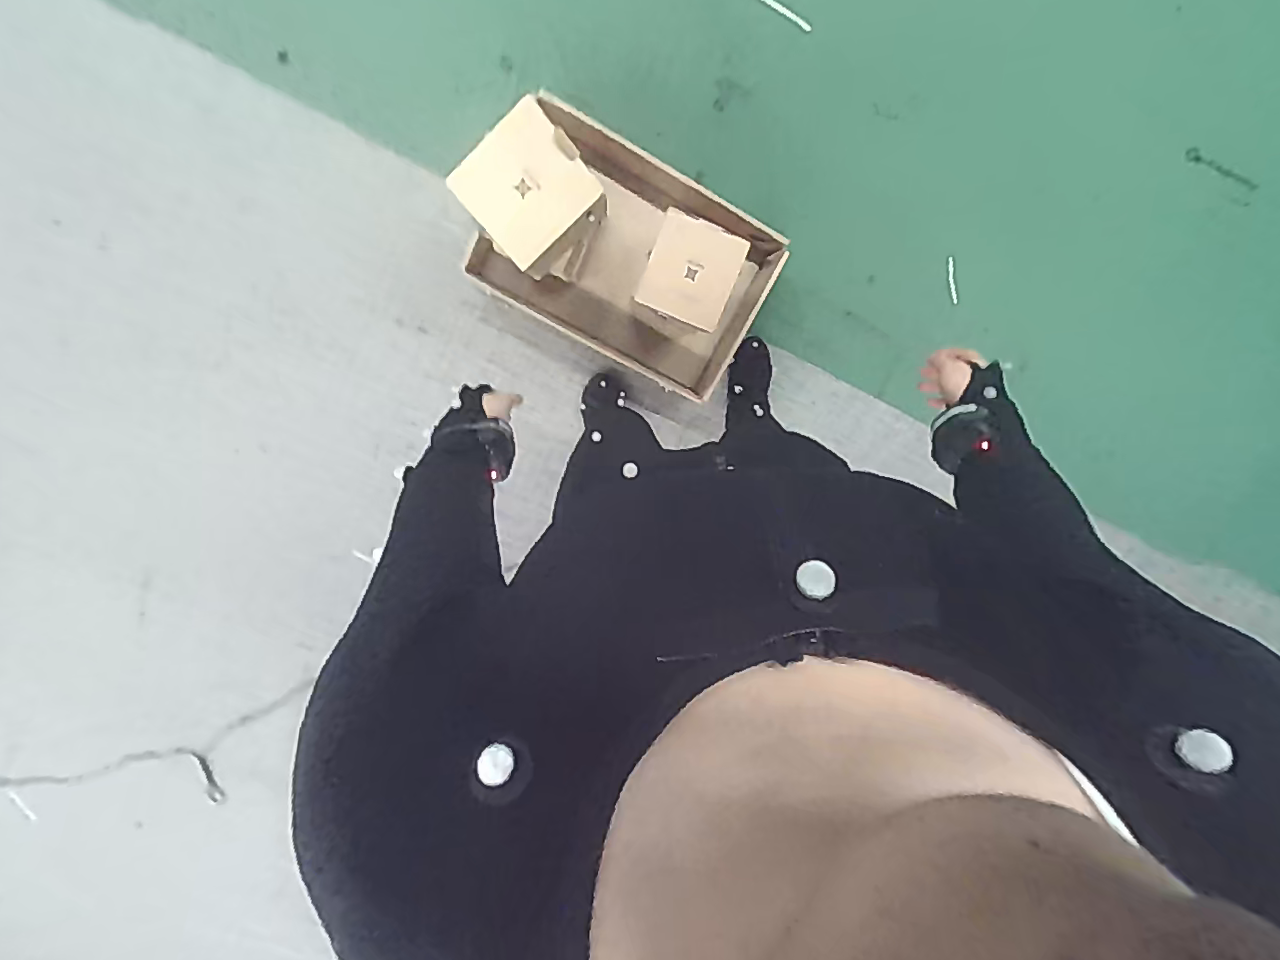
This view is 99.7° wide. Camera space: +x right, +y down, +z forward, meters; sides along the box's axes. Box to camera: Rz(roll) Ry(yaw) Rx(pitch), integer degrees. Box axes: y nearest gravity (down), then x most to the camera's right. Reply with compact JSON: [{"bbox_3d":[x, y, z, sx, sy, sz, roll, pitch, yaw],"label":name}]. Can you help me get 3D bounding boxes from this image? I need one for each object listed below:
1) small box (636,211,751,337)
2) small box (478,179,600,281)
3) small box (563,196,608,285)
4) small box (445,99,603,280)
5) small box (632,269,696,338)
[{"bbox_3d":[0.094,-0.397,1.066,0.168,0.176,0.179,21,106,-6],"label":"small box"},{"bbox_3d":[-0.181,-0.496,1.021,0.168,0.176,0.179,25,102,-10],"label":"small box"},{"bbox_3d":[-0.180,-0.546,1.176,0.168,0.176,0.179,24,102,-9],"label":"small box"},{"bbox_3d":[-0.172,-0.445,0.867,0.179,0.176,0.168,-41,104,7],"label":"small box"},{"bbox_3d":[0.090,-0.442,1.223,0.168,0.176,0.179,30,102,-10],"label":"small box"}]
